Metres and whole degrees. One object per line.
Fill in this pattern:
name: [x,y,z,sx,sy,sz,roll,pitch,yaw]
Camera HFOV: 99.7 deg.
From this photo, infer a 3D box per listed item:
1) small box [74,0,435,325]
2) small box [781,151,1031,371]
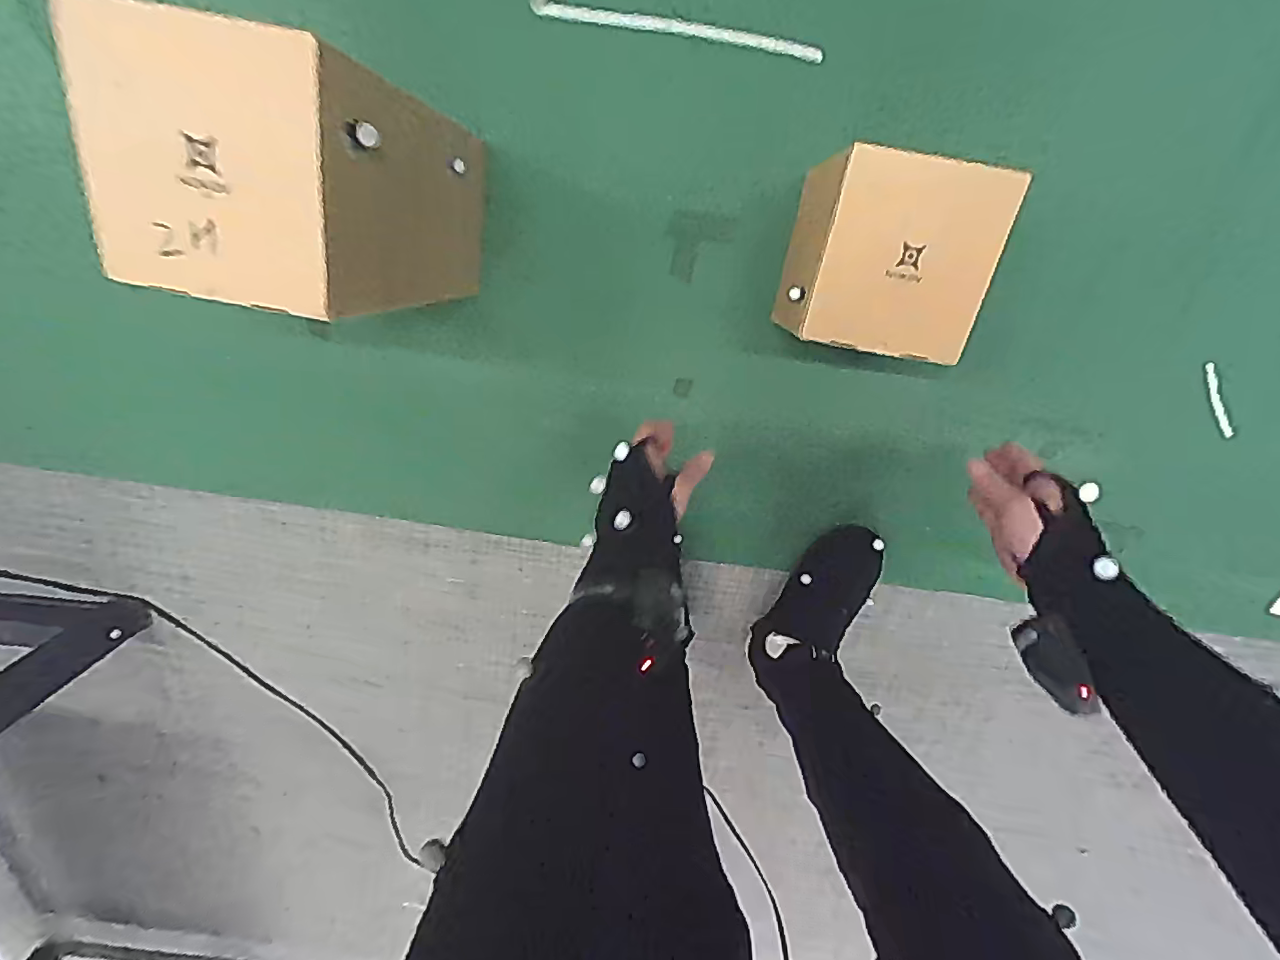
small box: [-0.282,-0.238,0.442,0.168,0.176,0.179,11,112,0]
small box: [0.264,-0.232,0.590,0.168,0.176,0.179,9,113,-1]
